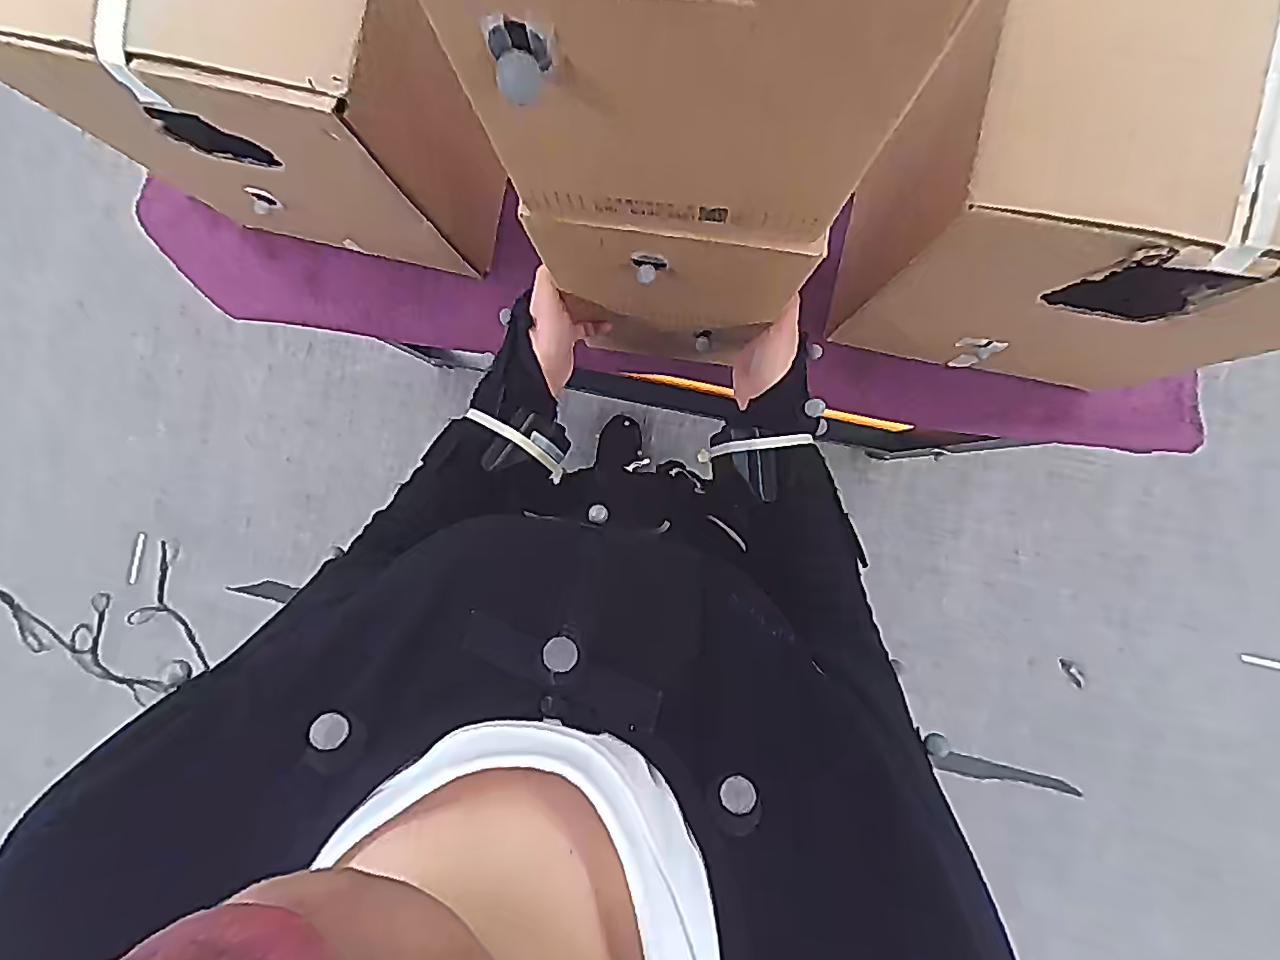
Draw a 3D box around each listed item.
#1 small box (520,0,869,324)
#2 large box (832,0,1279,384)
[{"bbox_3d":[0.033,-0.218,0.374,0.179,0.176,0.168,8,91,1],"label":"small box"},{"bbox_3d":[0.391,-0.327,0.468,0.320,0.320,0.408,11,89,2],"label":"large box"}]
